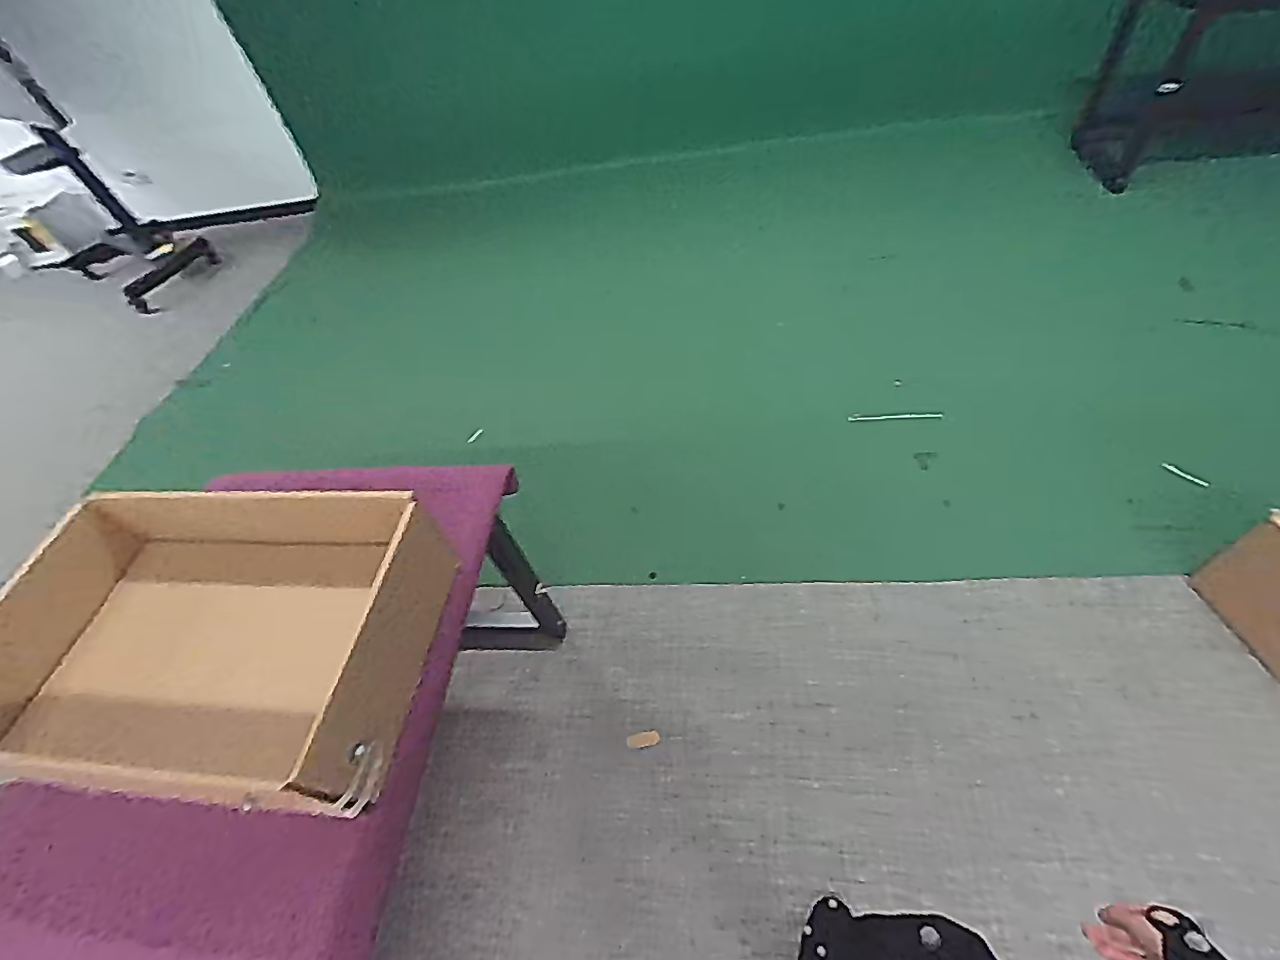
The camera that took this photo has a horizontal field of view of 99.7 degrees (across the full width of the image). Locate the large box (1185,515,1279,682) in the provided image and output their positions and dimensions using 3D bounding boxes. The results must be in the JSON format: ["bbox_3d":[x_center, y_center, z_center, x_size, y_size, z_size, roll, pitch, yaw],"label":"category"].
[{"bbox_3d":[1.612,0.294,1.208,0.320,0.320,0.408,-13,49,-1],"label":"large box"}]
